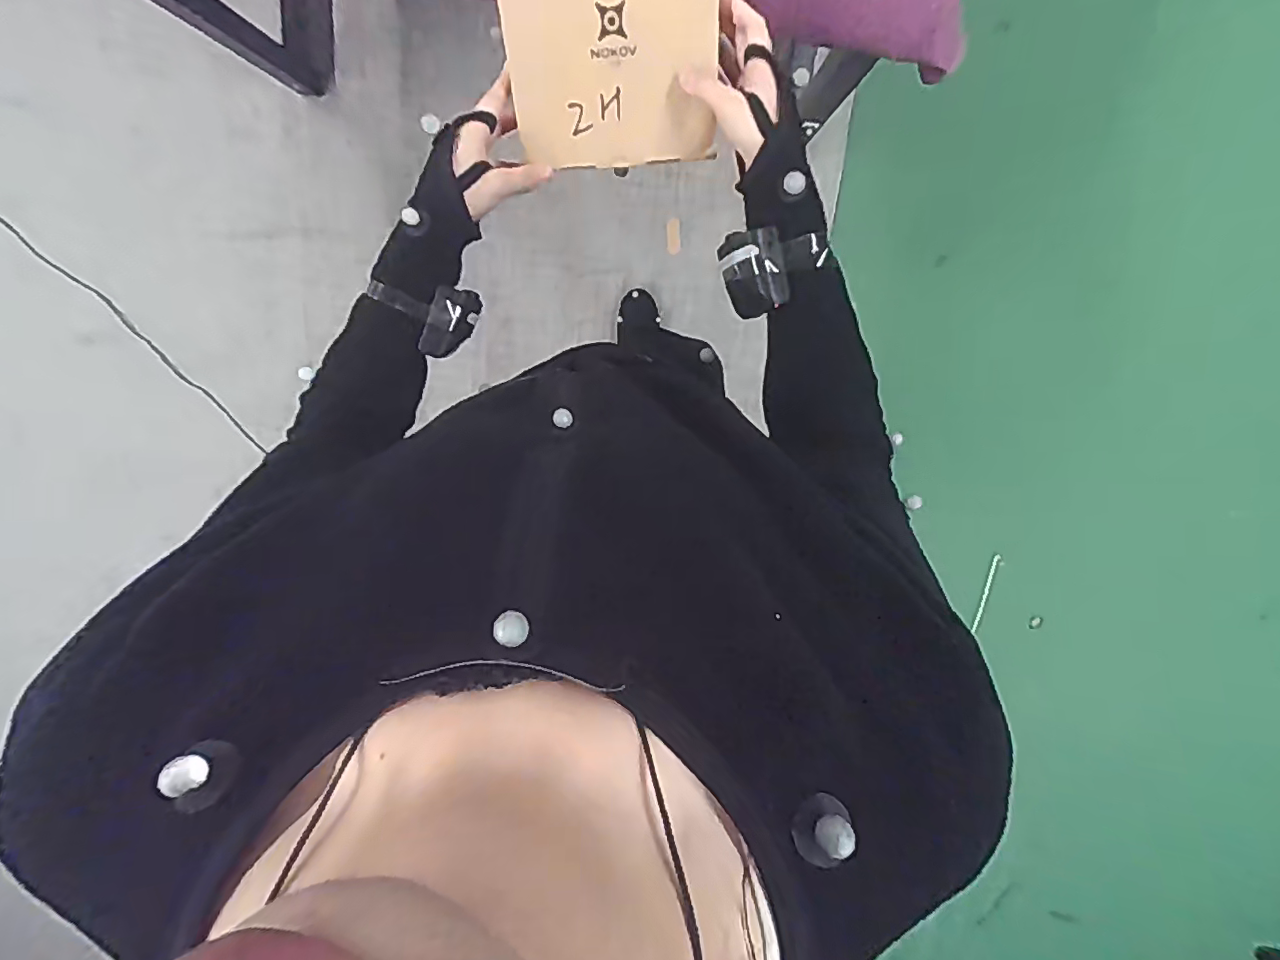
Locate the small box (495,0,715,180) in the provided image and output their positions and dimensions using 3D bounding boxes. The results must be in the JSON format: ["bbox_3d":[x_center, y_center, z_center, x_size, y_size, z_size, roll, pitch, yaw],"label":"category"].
[{"bbox_3d":[-0.026,-0.377,0.480,0.168,0.176,0.179,-3,125,2],"label":"small box"}]
